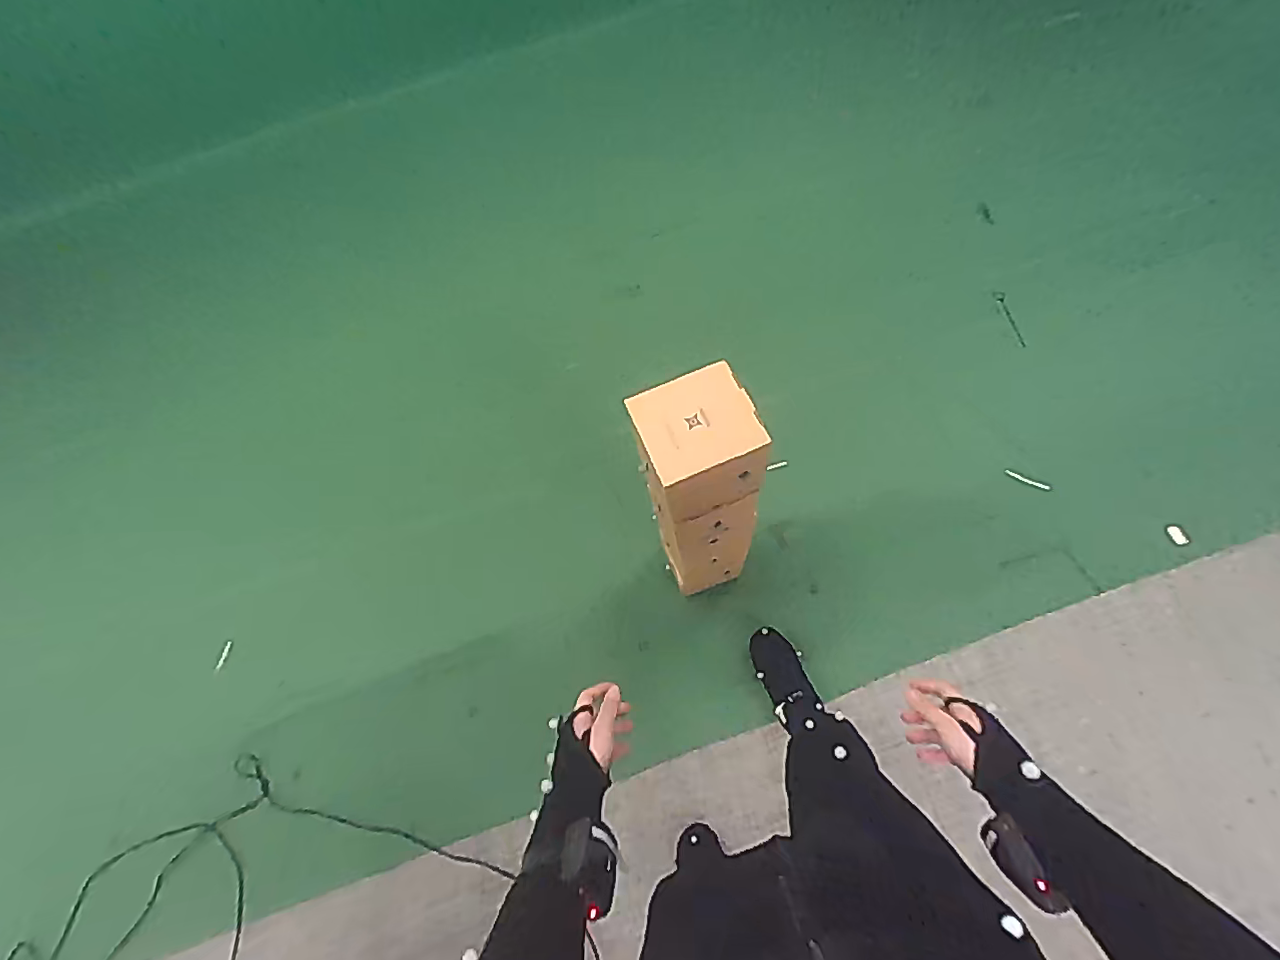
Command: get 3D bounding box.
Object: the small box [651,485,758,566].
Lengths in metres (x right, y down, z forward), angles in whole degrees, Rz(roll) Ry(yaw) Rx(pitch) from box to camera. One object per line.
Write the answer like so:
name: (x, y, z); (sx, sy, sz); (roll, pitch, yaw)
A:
small box: (0.141, 0.070, 1.187); (0.179, 0.176, 0.168); (-24, 67, -4)

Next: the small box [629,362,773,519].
small box: (0.098, -0.058, 0.889); (0.179, 0.176, 0.168); (-22, 65, -1)

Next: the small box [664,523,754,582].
small box: (0.163, 0.134, 1.337); (0.179, 0.176, 0.168); (-23, 66, -2)

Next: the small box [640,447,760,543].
small box: (0.115, 0.009, 1.038); (0.168, 0.176, 0.179); (-22, 67, -2)

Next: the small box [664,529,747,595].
small box: (0.176, 0.201, 1.484); (0.179, 0.176, 0.168); (-20, 66, -2)
